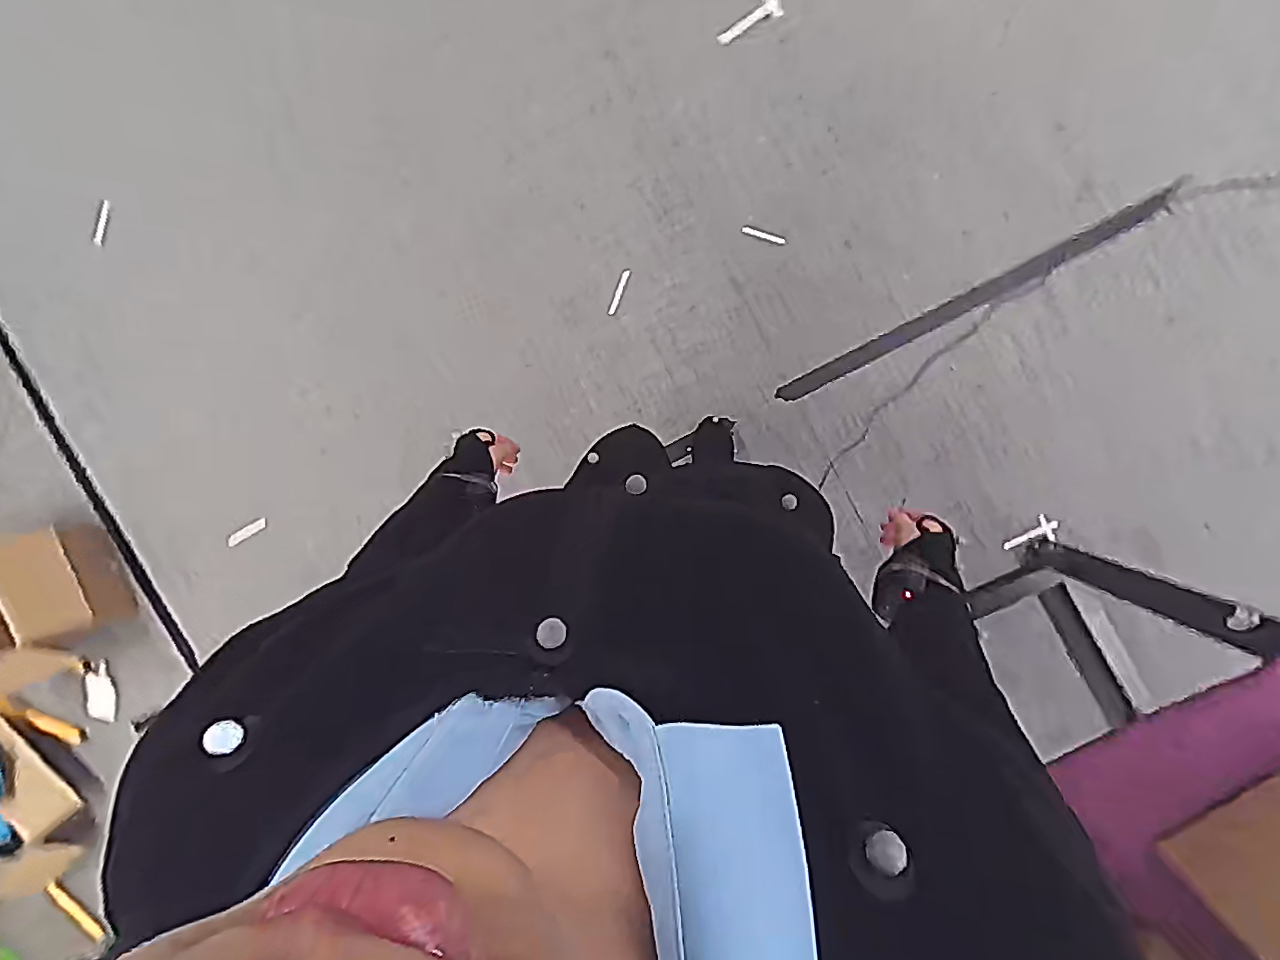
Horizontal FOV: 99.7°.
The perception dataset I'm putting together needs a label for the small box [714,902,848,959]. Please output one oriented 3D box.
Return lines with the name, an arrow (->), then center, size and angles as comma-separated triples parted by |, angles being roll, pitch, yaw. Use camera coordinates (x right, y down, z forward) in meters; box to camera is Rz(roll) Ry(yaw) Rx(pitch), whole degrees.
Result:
small box -> 0.204, 0.706, 0.710 | 0.168, 0.176, 0.179 | -28, 93, 10
